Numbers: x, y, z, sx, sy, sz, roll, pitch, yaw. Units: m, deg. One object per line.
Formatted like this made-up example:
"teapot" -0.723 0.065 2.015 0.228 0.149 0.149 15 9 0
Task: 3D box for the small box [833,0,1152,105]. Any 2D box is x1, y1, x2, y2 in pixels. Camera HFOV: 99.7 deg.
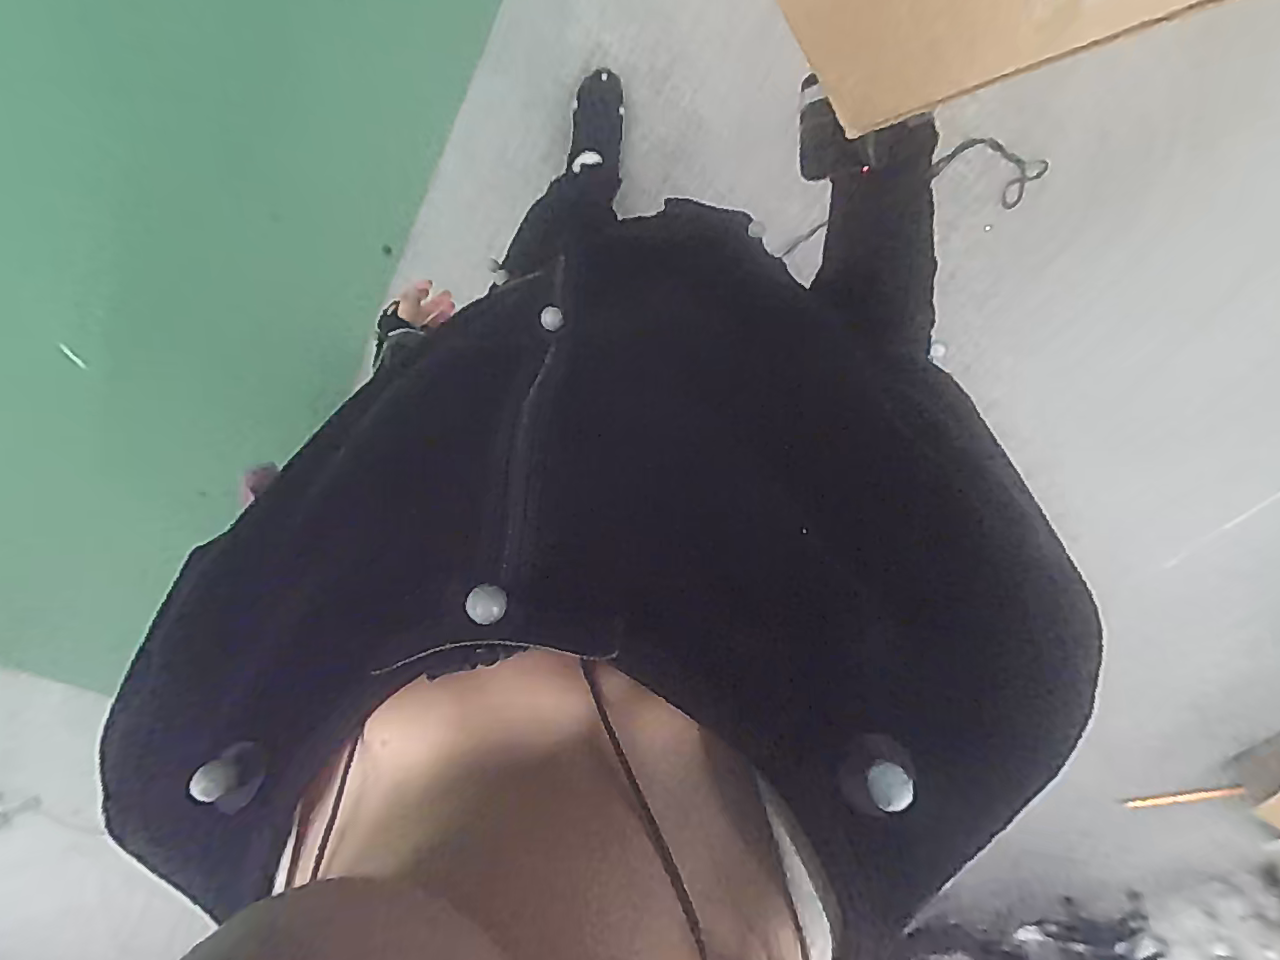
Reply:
"small box" 0.132 -0.266 0.149 0.176 0.179 0.168 26 79 -43

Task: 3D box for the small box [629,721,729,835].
"small box" 0.077 0.639 1.156 0.179 0.176 0.168 9 124 -5
